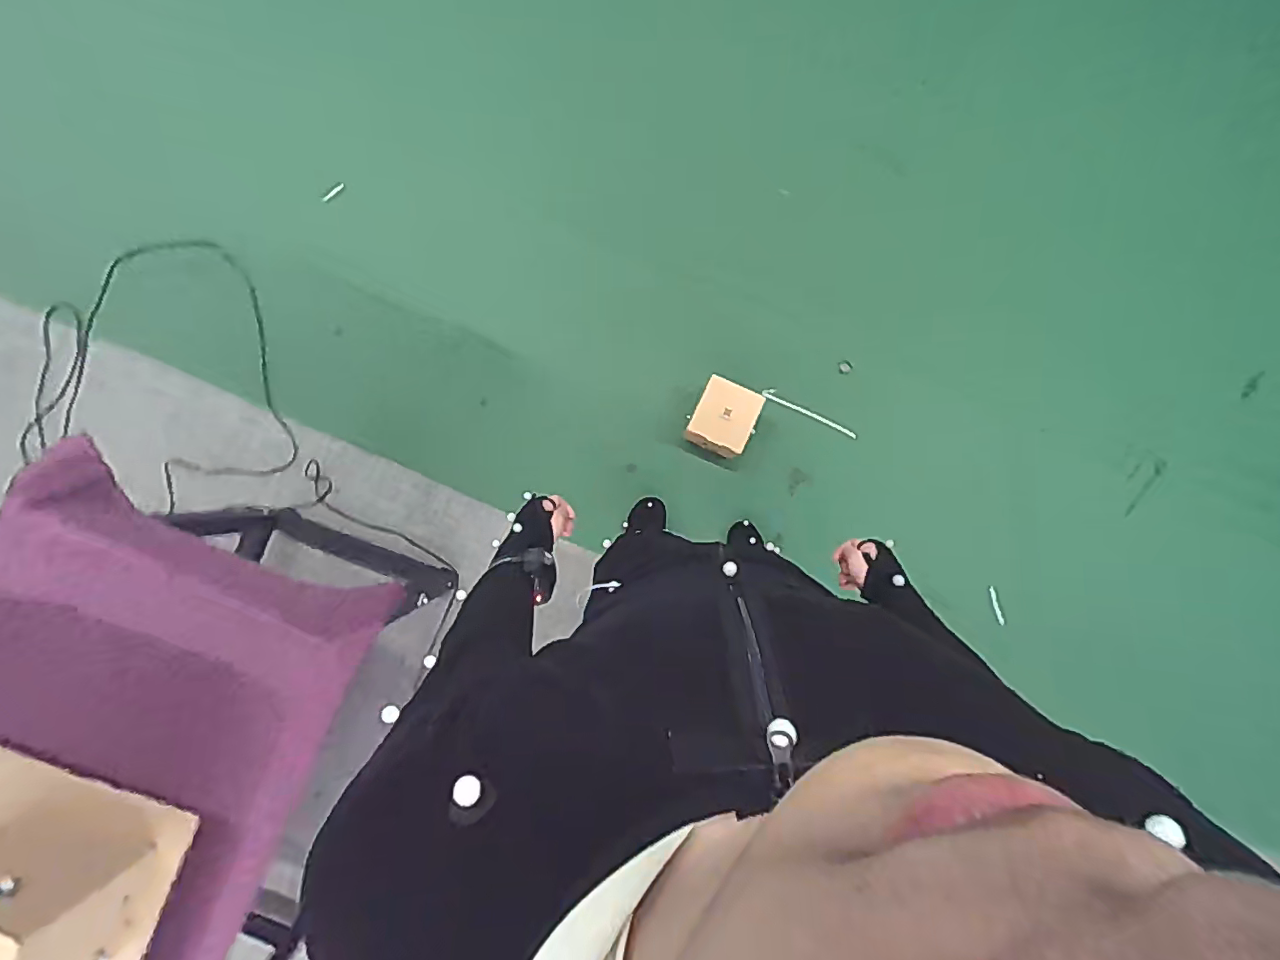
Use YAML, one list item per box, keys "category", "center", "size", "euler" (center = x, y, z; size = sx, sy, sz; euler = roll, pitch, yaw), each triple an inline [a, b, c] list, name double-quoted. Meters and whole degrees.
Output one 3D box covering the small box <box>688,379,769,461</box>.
- category: "small box"
  center: [0.248, -0.168, 1.568]
  size: [0.168, 0.176, 0.179]
  euler: [24, 89, 1]
